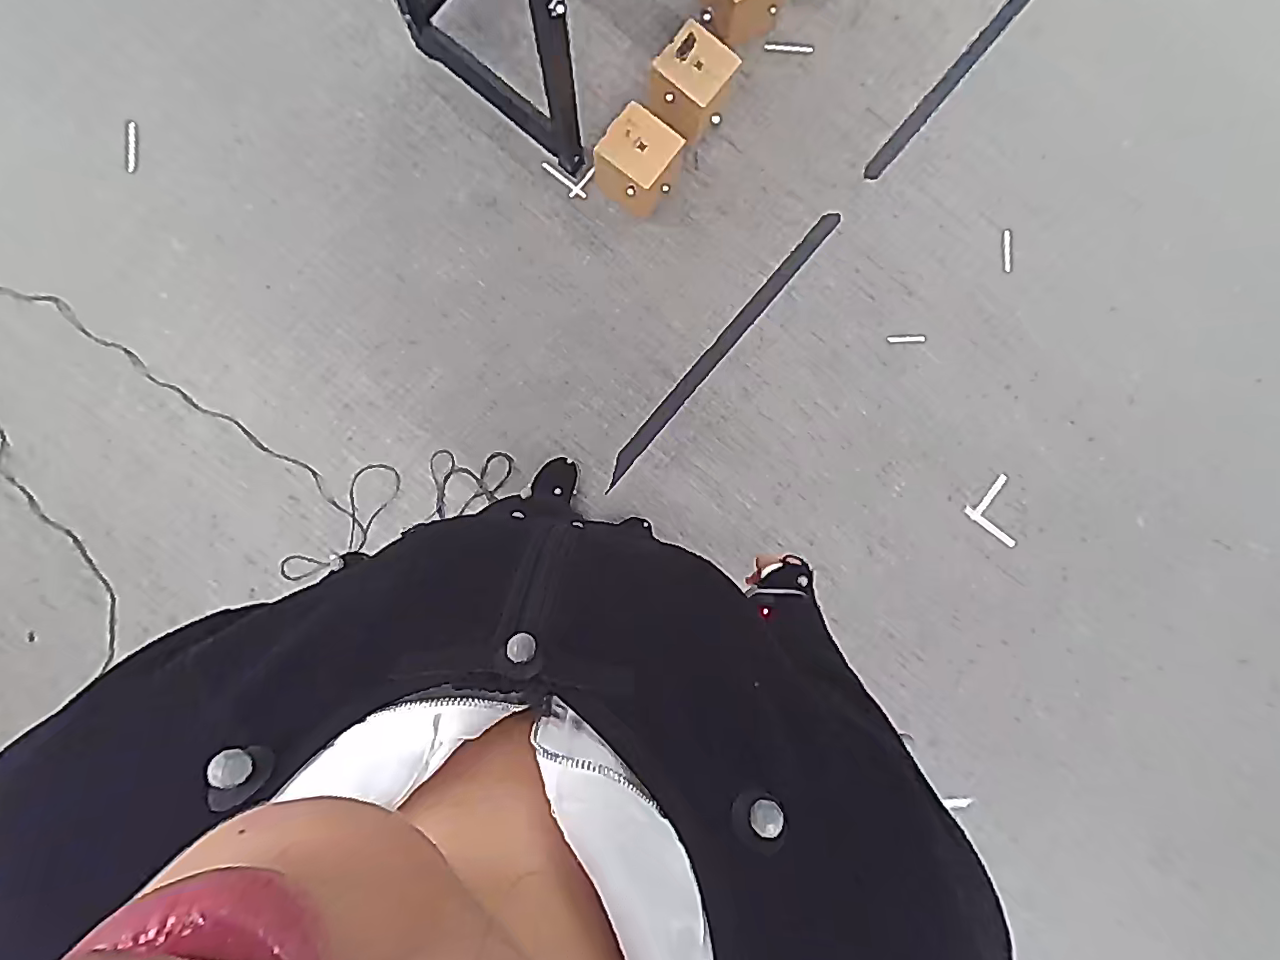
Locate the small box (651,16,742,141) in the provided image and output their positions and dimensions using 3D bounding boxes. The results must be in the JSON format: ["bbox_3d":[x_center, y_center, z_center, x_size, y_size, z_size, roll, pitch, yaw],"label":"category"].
[{"bbox_3d":[0.143,-1.070,1.459,0.179,0.176,0.168,39,88,-2],"label":"small box"}]

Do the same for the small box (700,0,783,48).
[{"bbox_3d":[0.281,-1.337,1.470,0.179,0.176,0.168,-29,89,-1],"label":"small box"}]
